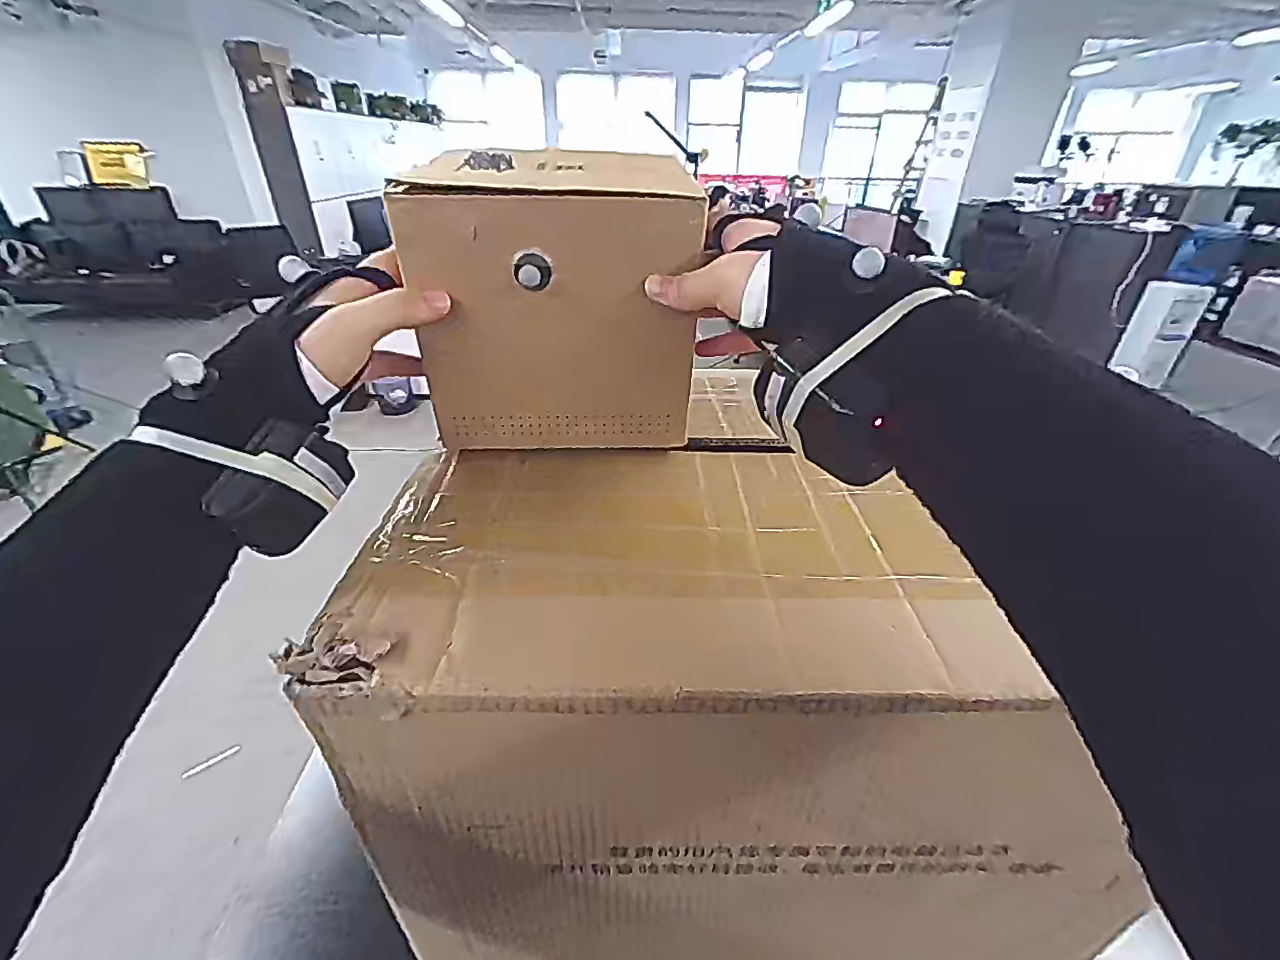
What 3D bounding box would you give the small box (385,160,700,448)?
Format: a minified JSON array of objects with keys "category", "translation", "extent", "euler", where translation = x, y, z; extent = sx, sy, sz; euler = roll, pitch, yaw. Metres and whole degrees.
[{"category":"small box","translation":[-0.056,-0.134,0.404],"extent":[0.179,0.176,0.168],"euler":[0,36,-3]}]
